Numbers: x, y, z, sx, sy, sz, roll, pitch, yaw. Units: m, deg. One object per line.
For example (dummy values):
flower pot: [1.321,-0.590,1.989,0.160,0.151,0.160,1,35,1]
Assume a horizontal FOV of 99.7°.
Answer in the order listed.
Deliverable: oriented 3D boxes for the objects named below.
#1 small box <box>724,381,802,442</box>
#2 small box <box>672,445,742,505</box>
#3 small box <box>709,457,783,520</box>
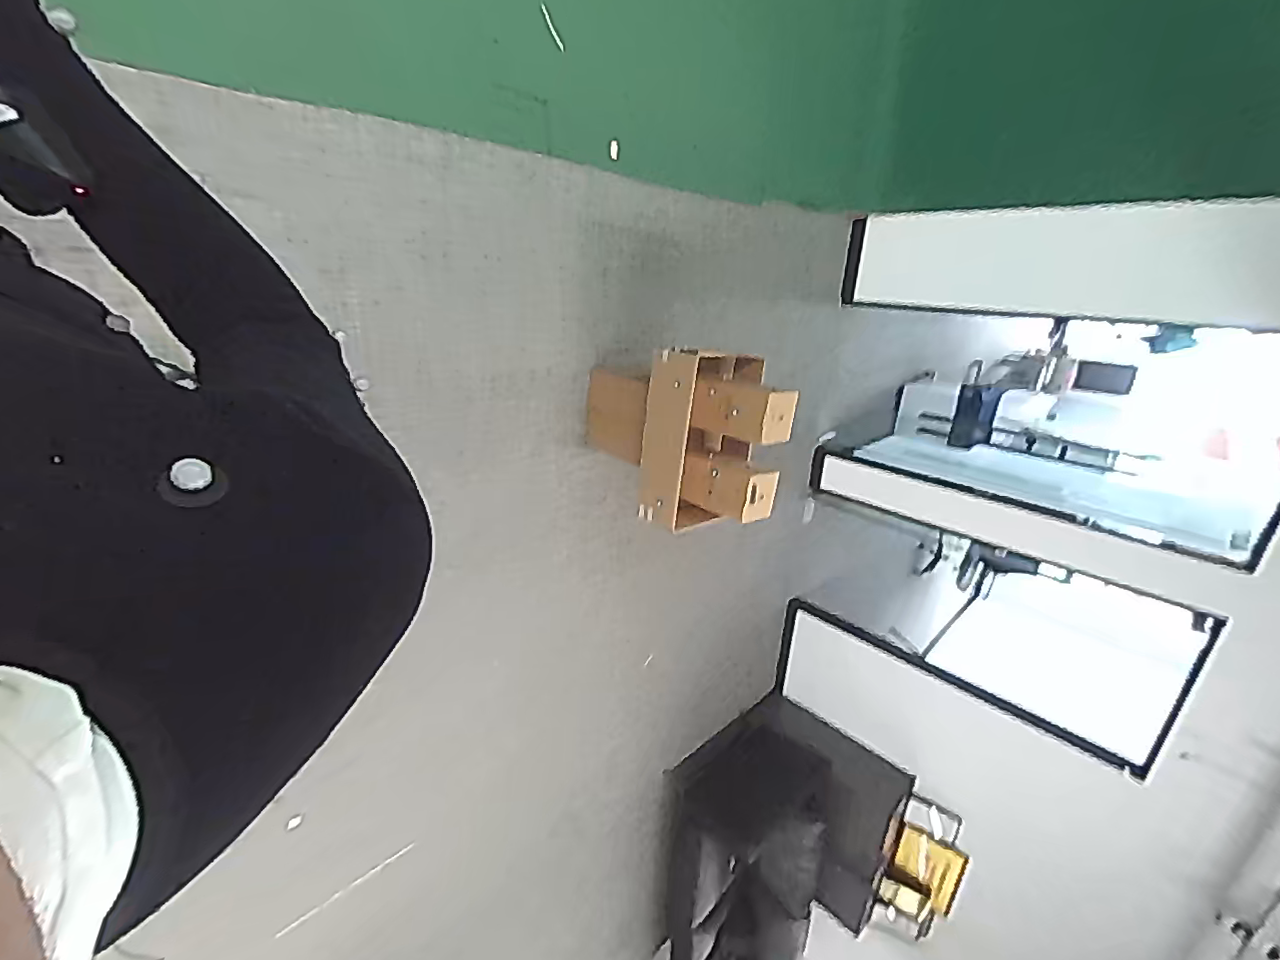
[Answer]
small box: [0.401,-0.230,1.770,0.179,0.176,0.168,-11,114,-43]
small box: [0.243,-0.024,1.947,0.179,0.176,0.168,-9,113,-43]
small box: [0.356,0.025,1.838,0.179,0.176,0.168,-8,113,-44]
